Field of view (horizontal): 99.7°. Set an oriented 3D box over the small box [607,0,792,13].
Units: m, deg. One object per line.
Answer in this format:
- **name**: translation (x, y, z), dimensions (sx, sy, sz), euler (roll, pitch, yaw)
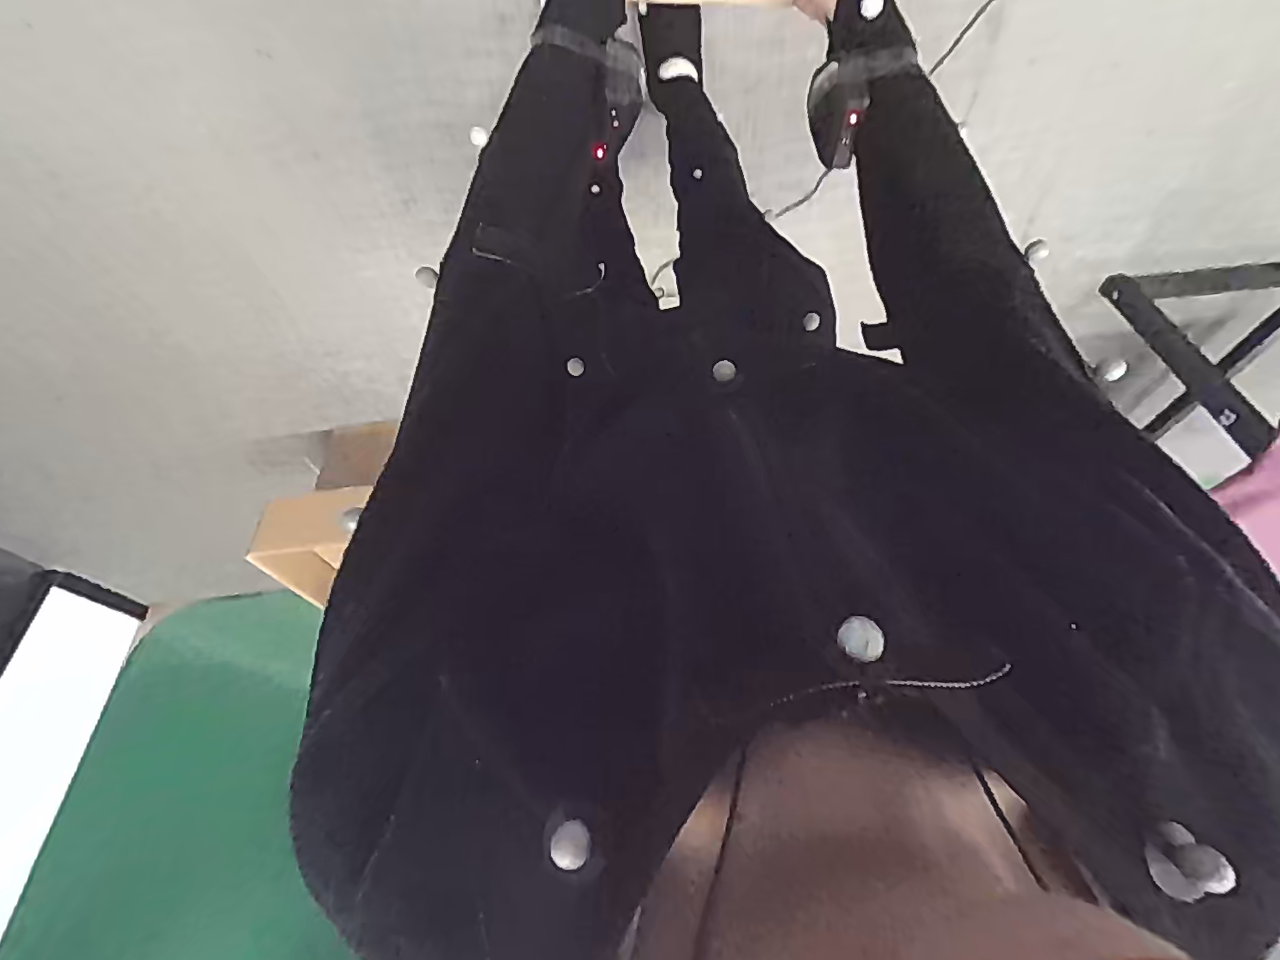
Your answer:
- **small box**: translation (0.047, -0.543, 0.483), dimensions (0.179, 0.176, 0.168), euler (-4, 138, -8)
